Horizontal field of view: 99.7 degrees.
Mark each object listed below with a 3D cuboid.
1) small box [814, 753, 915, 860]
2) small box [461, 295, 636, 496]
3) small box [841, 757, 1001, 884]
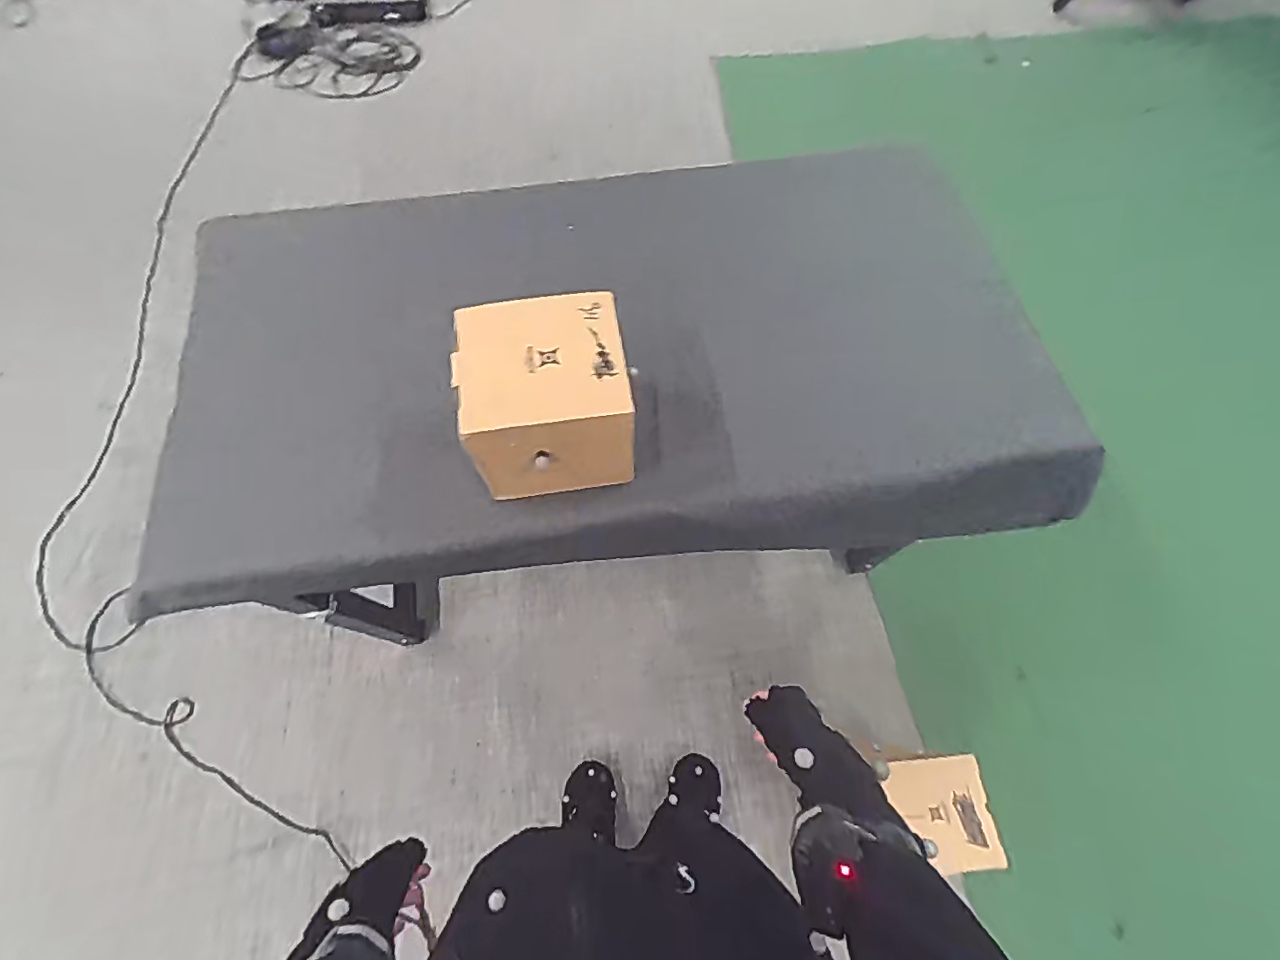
[{"bbox_3d":[0.482,0.665,1.118,0.179,0.176,0.168,-4,65,-1],"label":"small box"},{"bbox_3d":[-0.101,-0.091,0.645,0.179,0.176,0.168,-7,65,-4],"label":"small box"},{"bbox_3d":[0.488,0.597,0.967,0.179,0.176,0.168,-4,65,-2],"label":"small box"}]
